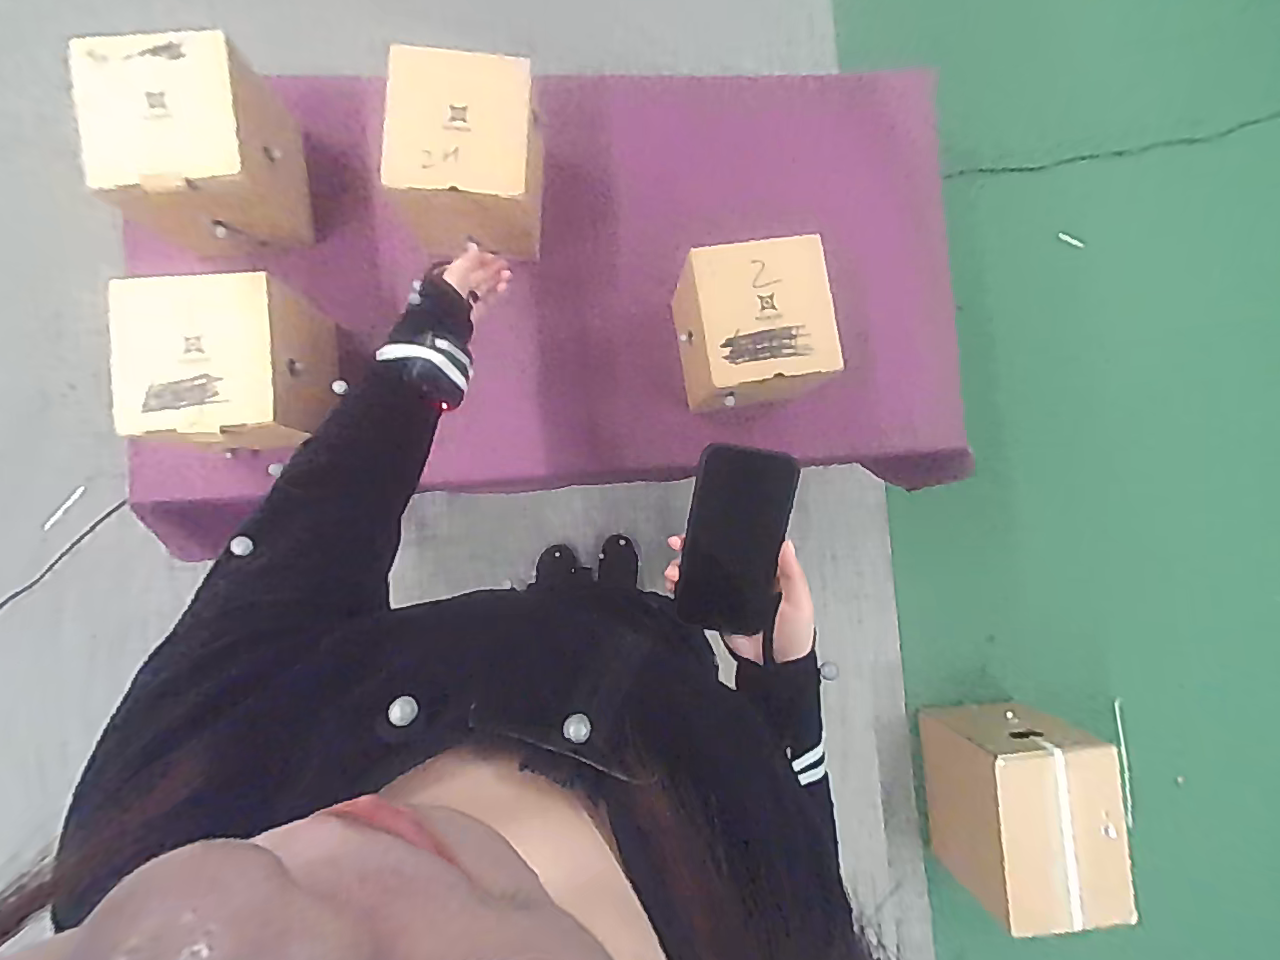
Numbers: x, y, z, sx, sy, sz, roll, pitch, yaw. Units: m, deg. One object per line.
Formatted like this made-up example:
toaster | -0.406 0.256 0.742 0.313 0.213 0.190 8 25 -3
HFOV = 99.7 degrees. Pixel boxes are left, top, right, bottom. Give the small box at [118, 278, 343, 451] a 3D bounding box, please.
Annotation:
small box | -0.496 -0.132 0.680 0.168 0.176 0.179 -5 86 -6

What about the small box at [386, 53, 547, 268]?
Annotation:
small box | -0.216 -0.410 0.720 0.168 0.176 0.179 3 87 -4

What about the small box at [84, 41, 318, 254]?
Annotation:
small box | -0.542 -0.407 0.694 0.168 0.176 0.179 -8 88 -6
